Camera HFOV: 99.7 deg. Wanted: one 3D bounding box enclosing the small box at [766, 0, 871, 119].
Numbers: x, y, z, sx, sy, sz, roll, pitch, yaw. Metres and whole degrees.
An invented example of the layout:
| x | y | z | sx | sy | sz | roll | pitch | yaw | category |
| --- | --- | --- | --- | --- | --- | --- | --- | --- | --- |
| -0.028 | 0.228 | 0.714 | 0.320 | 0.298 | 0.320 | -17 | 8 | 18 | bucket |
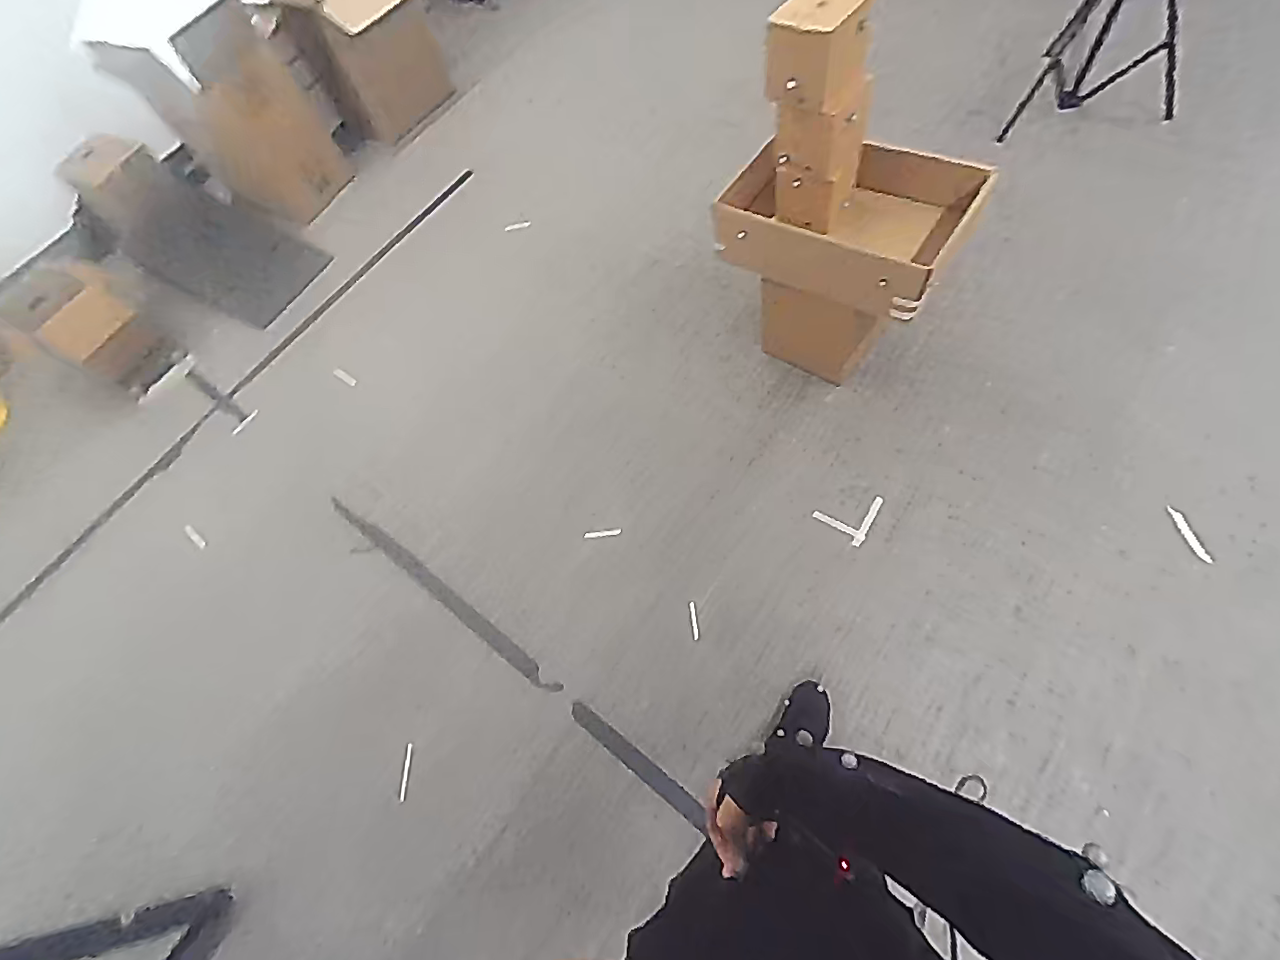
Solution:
| x | y | z | sx | sy | sz | roll | pitch | yaw | category |
| --- | --- | --- | --- | --- | --- | --- | --- | --- | --- |
| 0.407 | -0.994 | 1.265 | 0.168 | 0.176 | 0.179 | 35 | 75 | 25 | small box |

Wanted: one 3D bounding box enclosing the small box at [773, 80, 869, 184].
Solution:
| x | y | z | sx | sy | sz | roll | pitch | yaw | category |
| --- | --- | --- | --- | --- | --- | --- | --- | --- | --- |
| 0.462 | -0.906 | 1.397 | 0.168 | 0.176 | 0.179 | 34 | 74 | 24 | small box |

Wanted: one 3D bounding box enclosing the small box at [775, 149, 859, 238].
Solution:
| x | y | z | sx | sy | sz | roll | pitch | yaw | category |
| --- | --- | --- | --- | --- | --- | --- | --- | --- | --- |
| 0.494 | -0.829 | 1.539 | 0.168 | 0.176 | 0.179 | 28 | 71 | 23 | small box |
